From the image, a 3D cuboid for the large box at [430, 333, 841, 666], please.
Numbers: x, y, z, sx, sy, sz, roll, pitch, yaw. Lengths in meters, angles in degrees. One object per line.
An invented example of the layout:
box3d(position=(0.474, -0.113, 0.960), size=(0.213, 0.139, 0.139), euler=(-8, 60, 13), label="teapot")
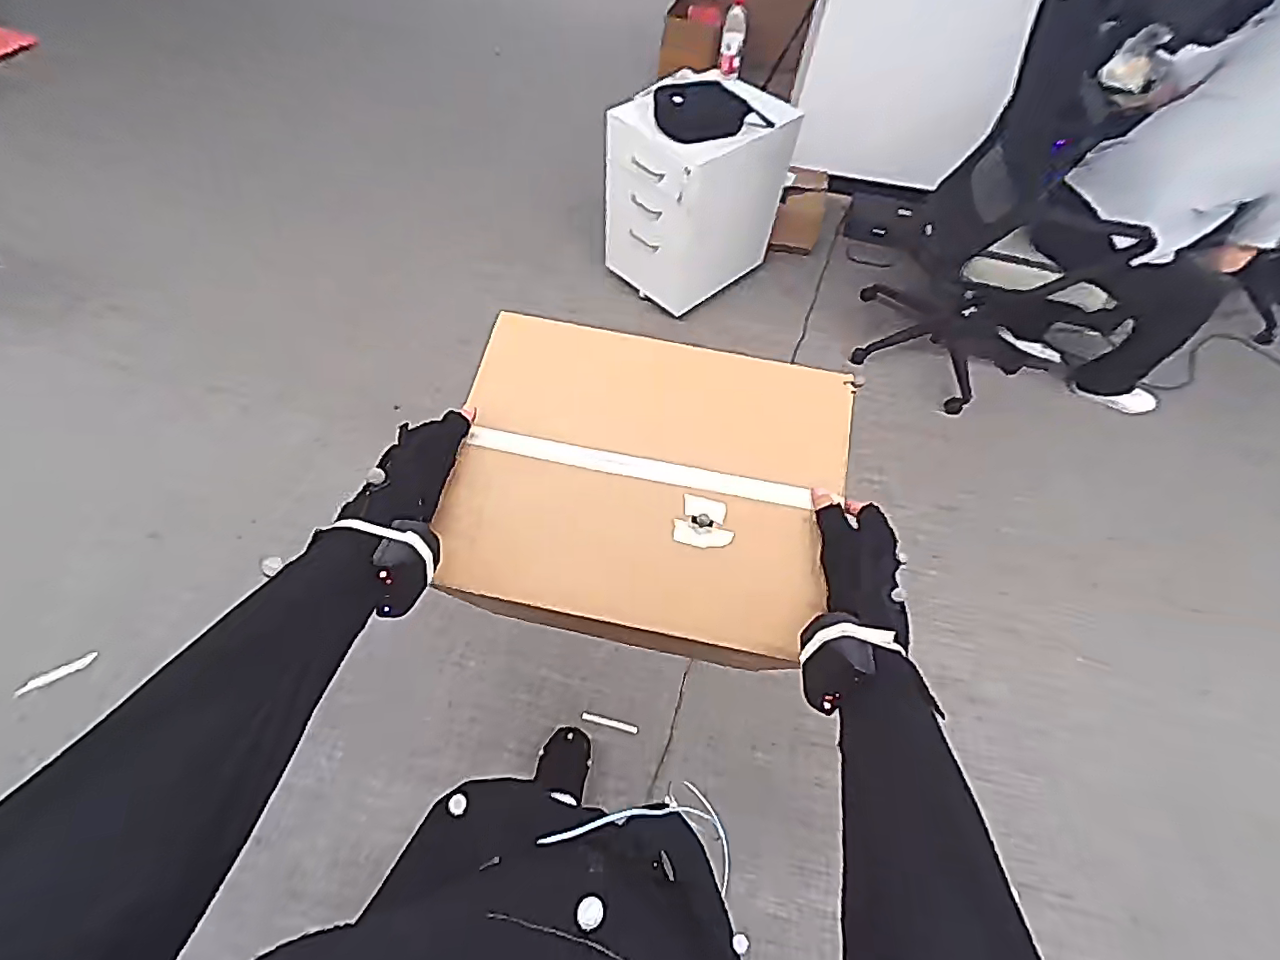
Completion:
box3d(position=(0.004, 0.050, 0.721), size=(0.408, 0.320, 0.320), euler=(12, 71, 2), label="large box")
